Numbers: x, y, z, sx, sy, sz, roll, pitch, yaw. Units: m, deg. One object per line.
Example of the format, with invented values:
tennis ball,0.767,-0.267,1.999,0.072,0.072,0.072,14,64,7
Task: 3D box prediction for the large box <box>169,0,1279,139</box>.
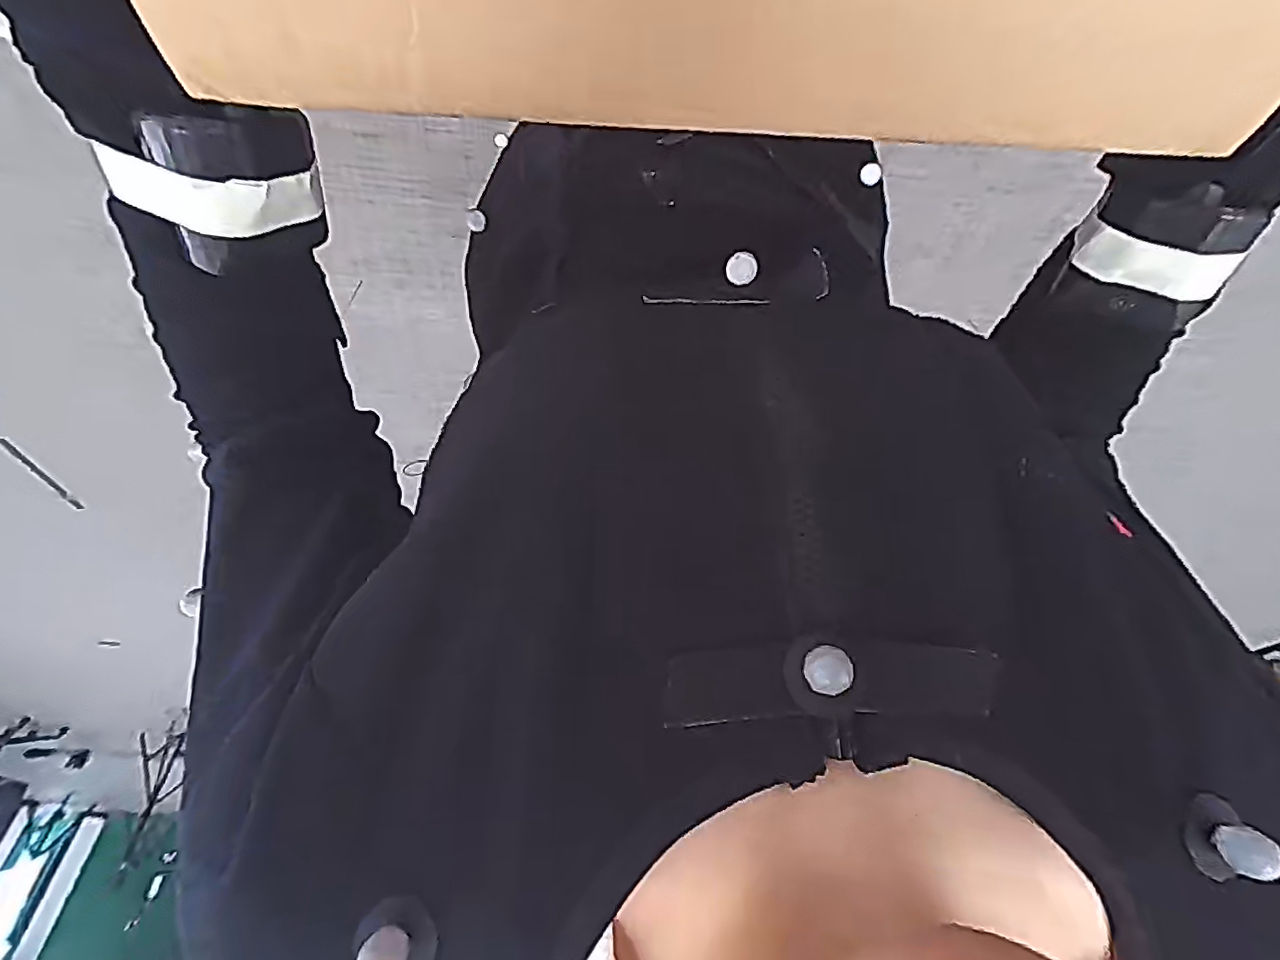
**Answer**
large box,0.042,-0.353,0.174,0.408,0.320,0.320,0,145,-4
